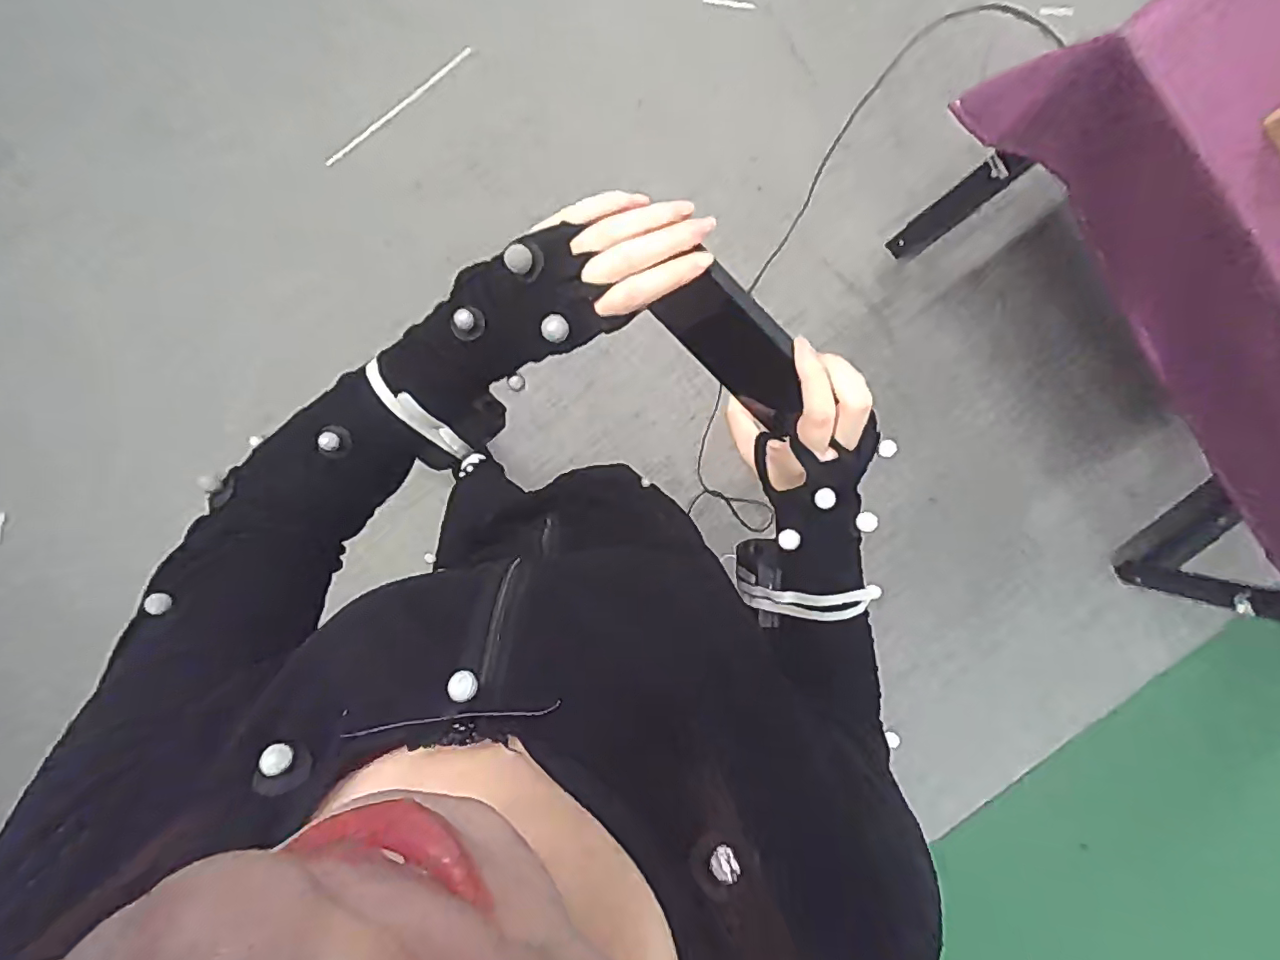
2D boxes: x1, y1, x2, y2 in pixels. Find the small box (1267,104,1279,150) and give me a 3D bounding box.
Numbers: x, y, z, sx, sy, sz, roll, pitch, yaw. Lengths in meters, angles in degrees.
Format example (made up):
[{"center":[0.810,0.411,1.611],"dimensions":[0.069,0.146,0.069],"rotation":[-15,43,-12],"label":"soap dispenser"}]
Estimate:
[{"center":[0.981,-0.479,0.682],"dimensions":[0.168,0.176,0.179],"rotation":[-36,95,0],"label":"small box"}]
